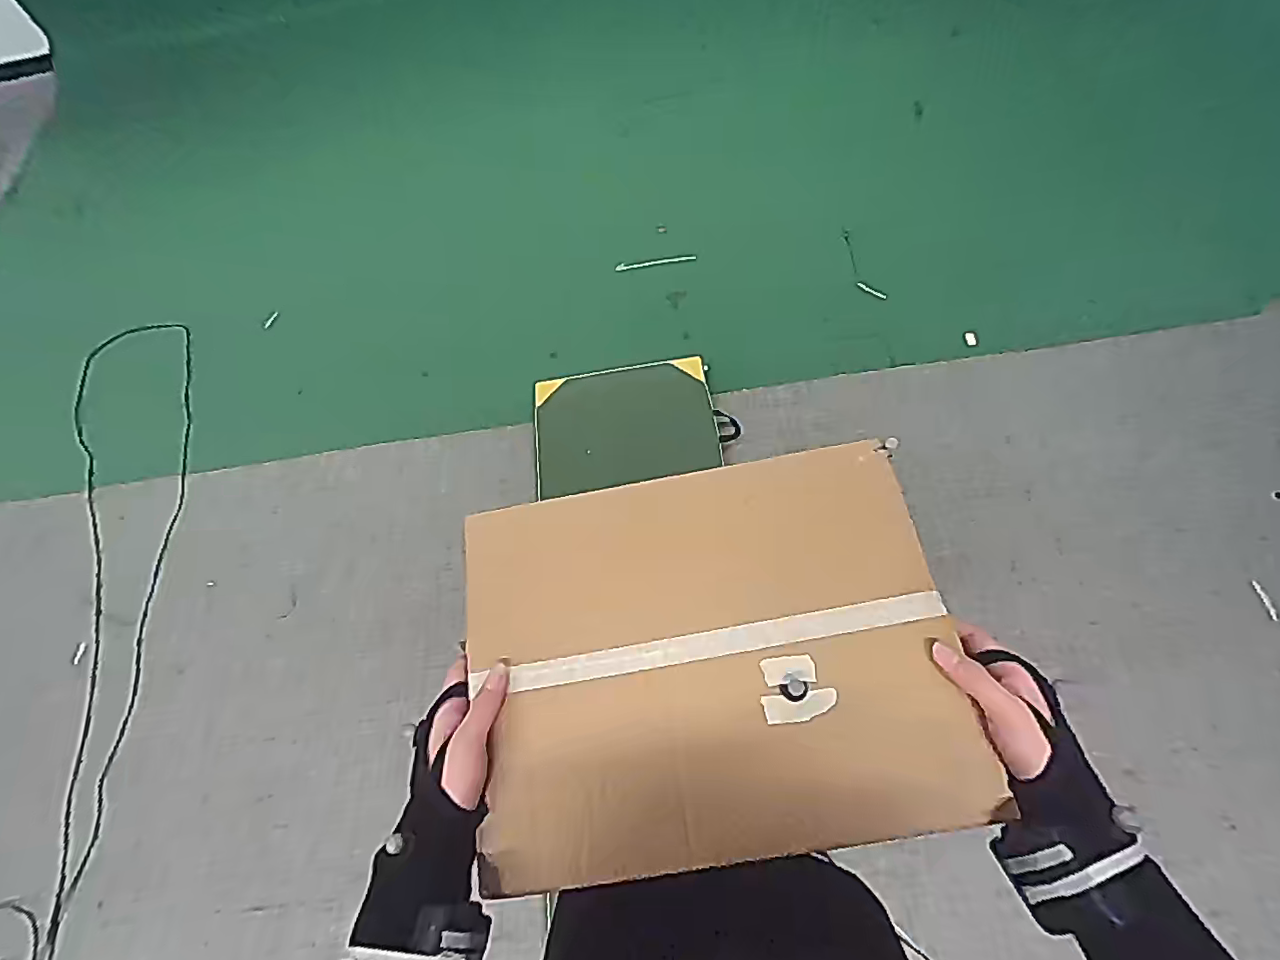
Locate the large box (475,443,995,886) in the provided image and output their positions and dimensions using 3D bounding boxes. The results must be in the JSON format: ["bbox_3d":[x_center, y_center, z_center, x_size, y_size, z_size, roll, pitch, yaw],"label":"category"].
[{"bbox_3d":[0.068,0.197,0.611,0.408,0.320,0.320,-11,68,2],"label":"large box"}]
